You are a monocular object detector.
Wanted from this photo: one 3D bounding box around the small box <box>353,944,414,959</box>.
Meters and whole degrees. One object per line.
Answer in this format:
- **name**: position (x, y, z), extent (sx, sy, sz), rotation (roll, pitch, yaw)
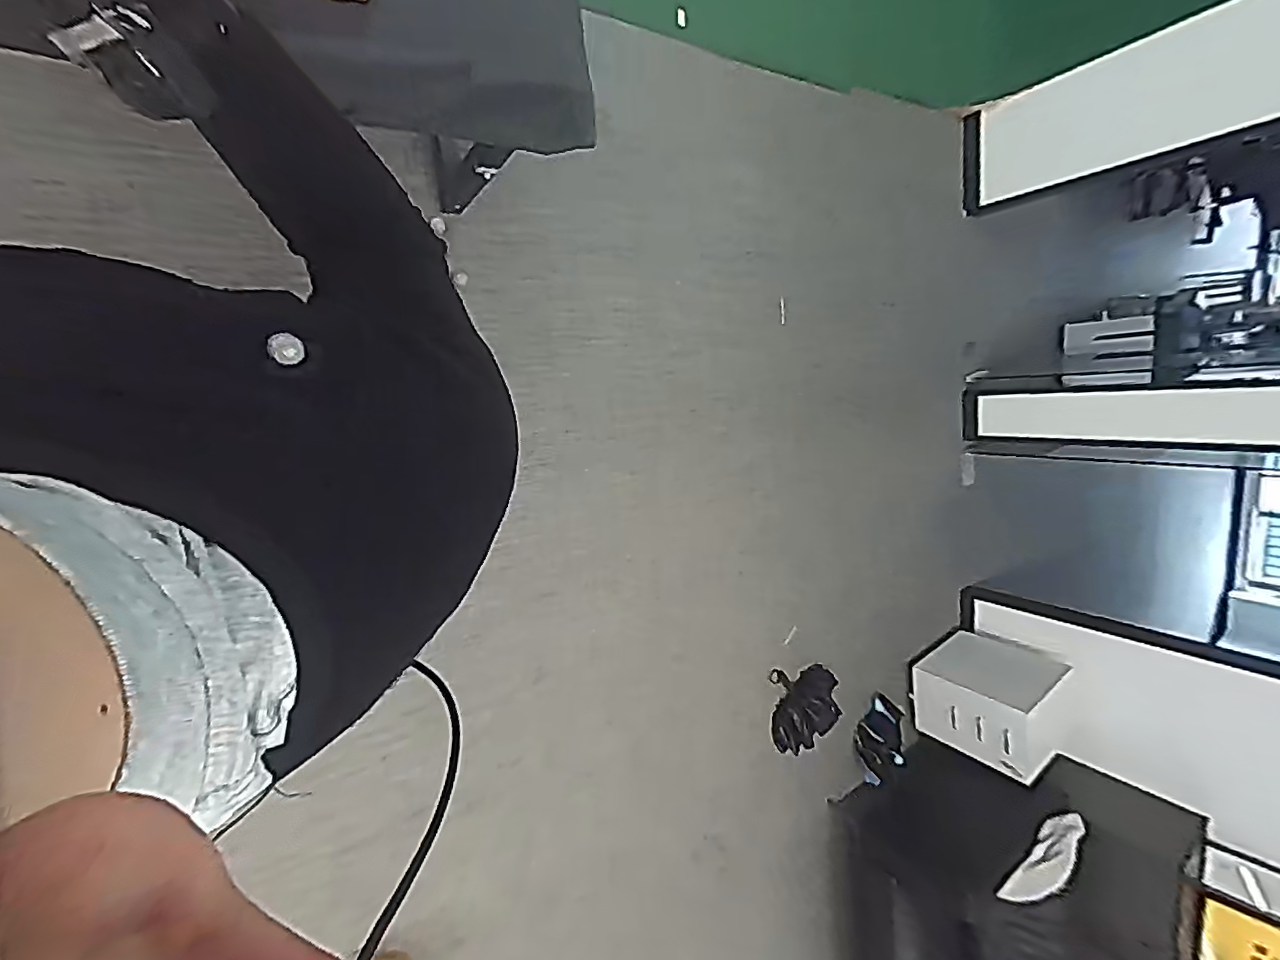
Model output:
- **small box**: position (-0.731, 1.438, 1.496), extent (0.168, 0.176, 0.179), rotation (37, 76, -31)
